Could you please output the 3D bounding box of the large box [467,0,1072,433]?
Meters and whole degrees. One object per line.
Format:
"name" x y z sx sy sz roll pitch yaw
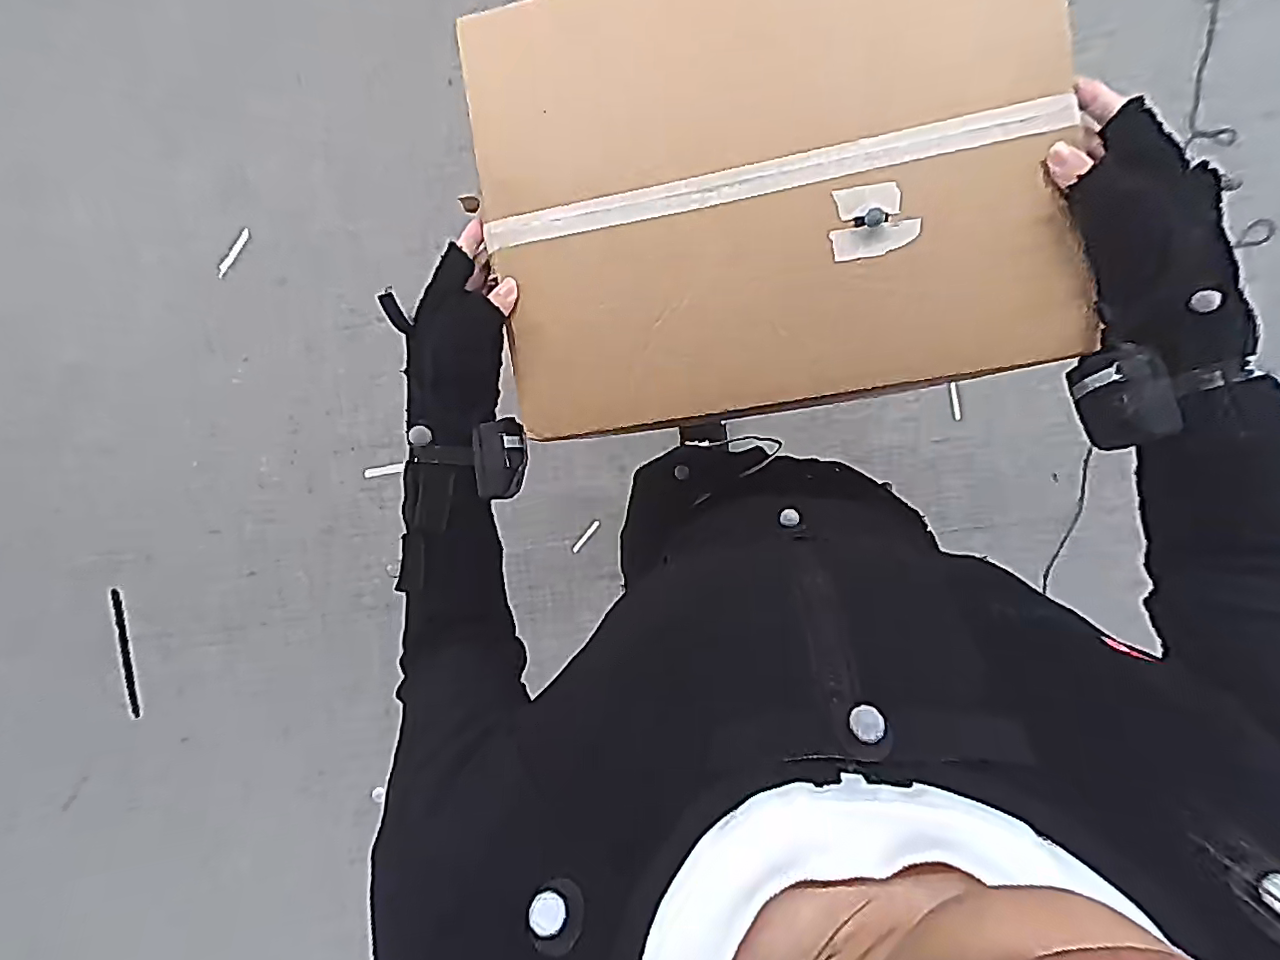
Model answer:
"large box" 0.100 -0.231 0.541 0.408 0.320 0.320 -9 94 7
